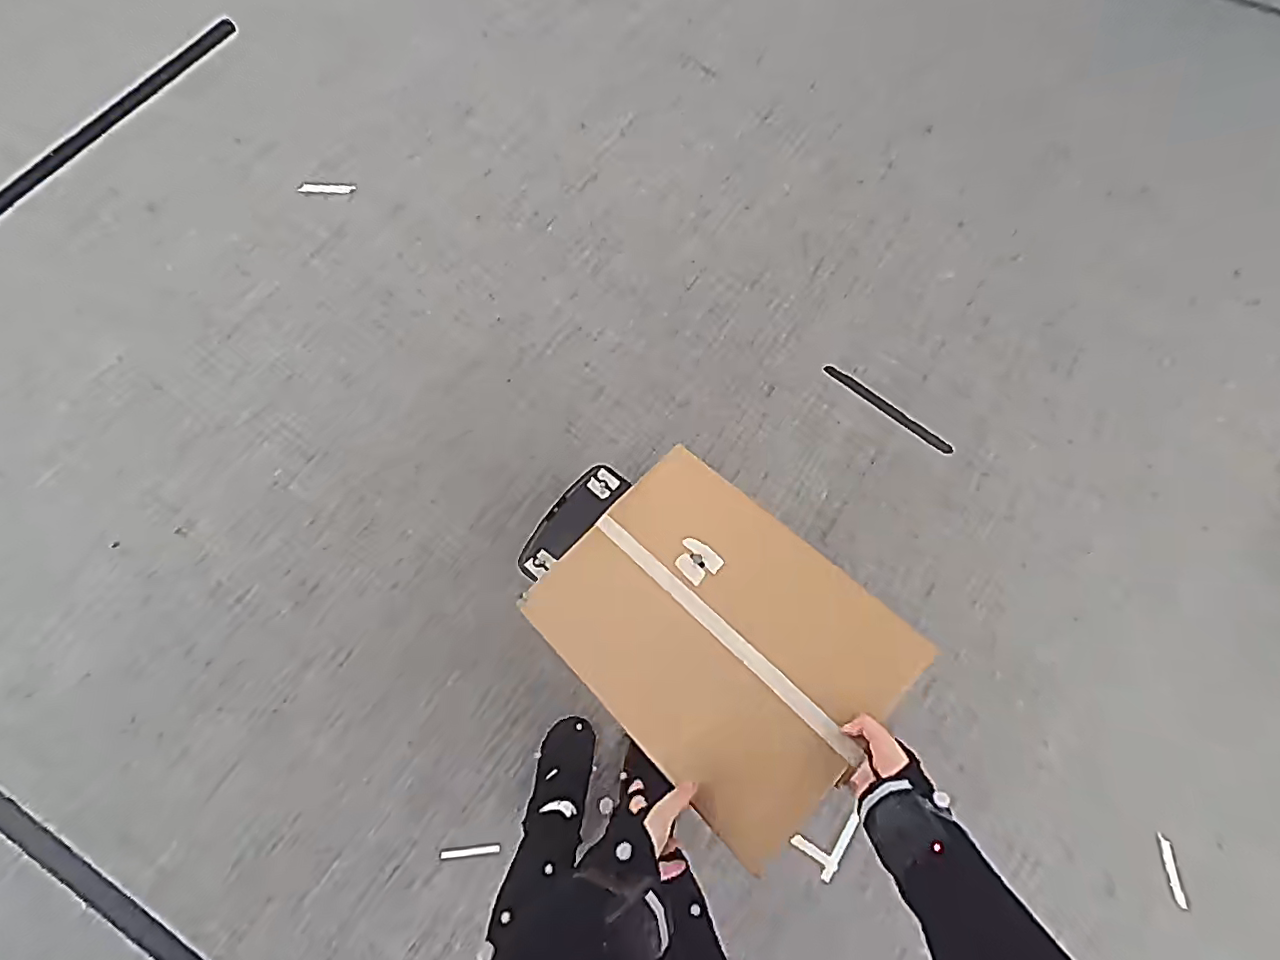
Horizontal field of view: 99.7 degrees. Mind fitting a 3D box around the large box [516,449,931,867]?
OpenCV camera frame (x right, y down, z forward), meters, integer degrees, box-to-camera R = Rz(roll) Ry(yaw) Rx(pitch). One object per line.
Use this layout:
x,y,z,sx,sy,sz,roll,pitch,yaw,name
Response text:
0.106,0.236,0.779,0.408,0.320,0.320,40,75,23,large box
